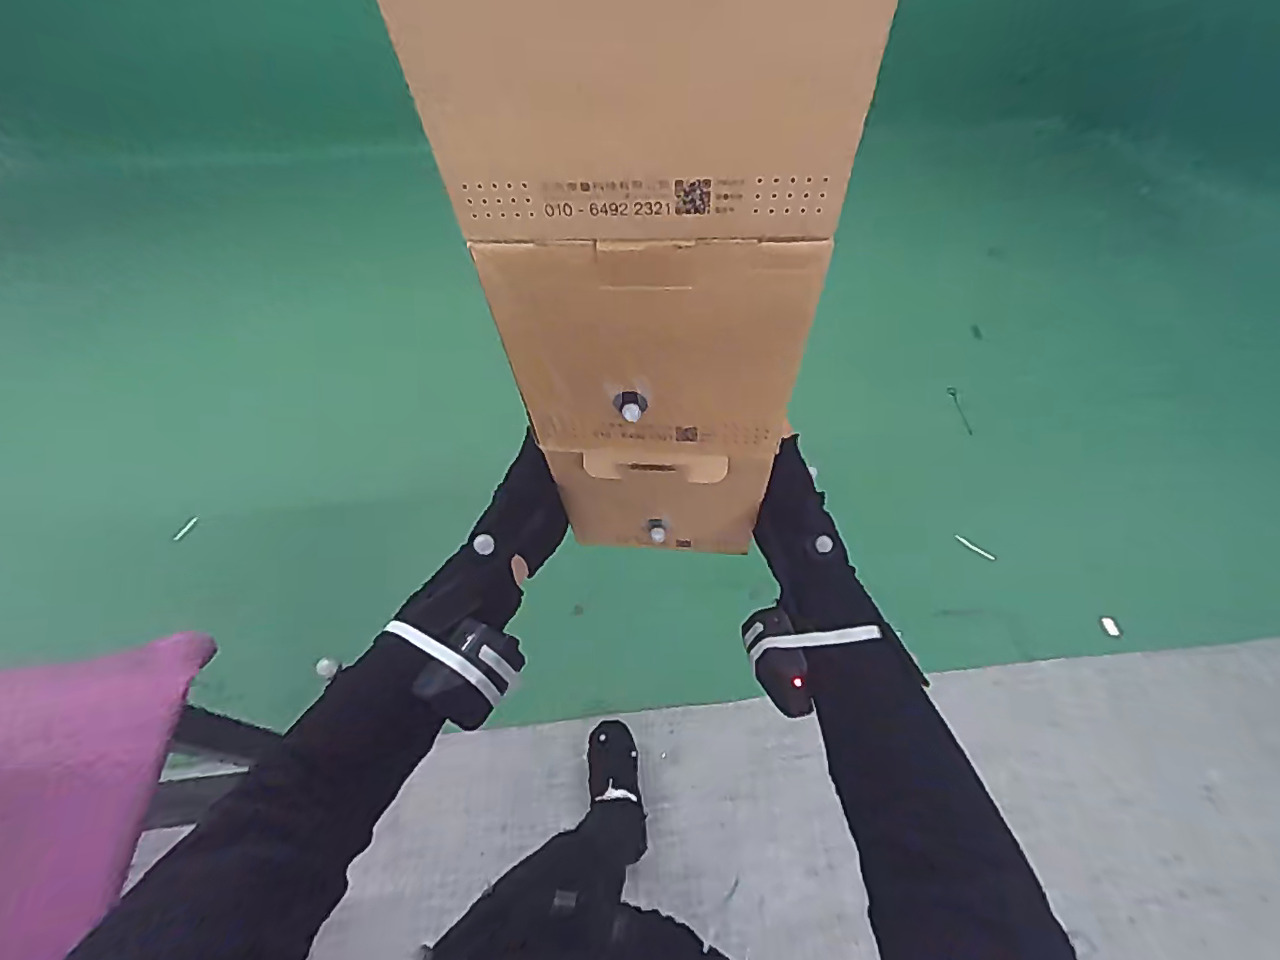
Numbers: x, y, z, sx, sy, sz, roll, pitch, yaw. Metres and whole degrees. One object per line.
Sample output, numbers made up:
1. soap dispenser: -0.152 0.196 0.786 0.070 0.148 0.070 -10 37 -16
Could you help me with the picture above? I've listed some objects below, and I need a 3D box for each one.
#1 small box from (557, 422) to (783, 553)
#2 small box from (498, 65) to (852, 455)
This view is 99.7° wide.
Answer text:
1. small box: 0.032 -0.052 0.495 0.168 0.176 0.179 4 59 6
2. small box: 0.023 -0.137 0.357 0.168 0.176 0.179 2 59 4
